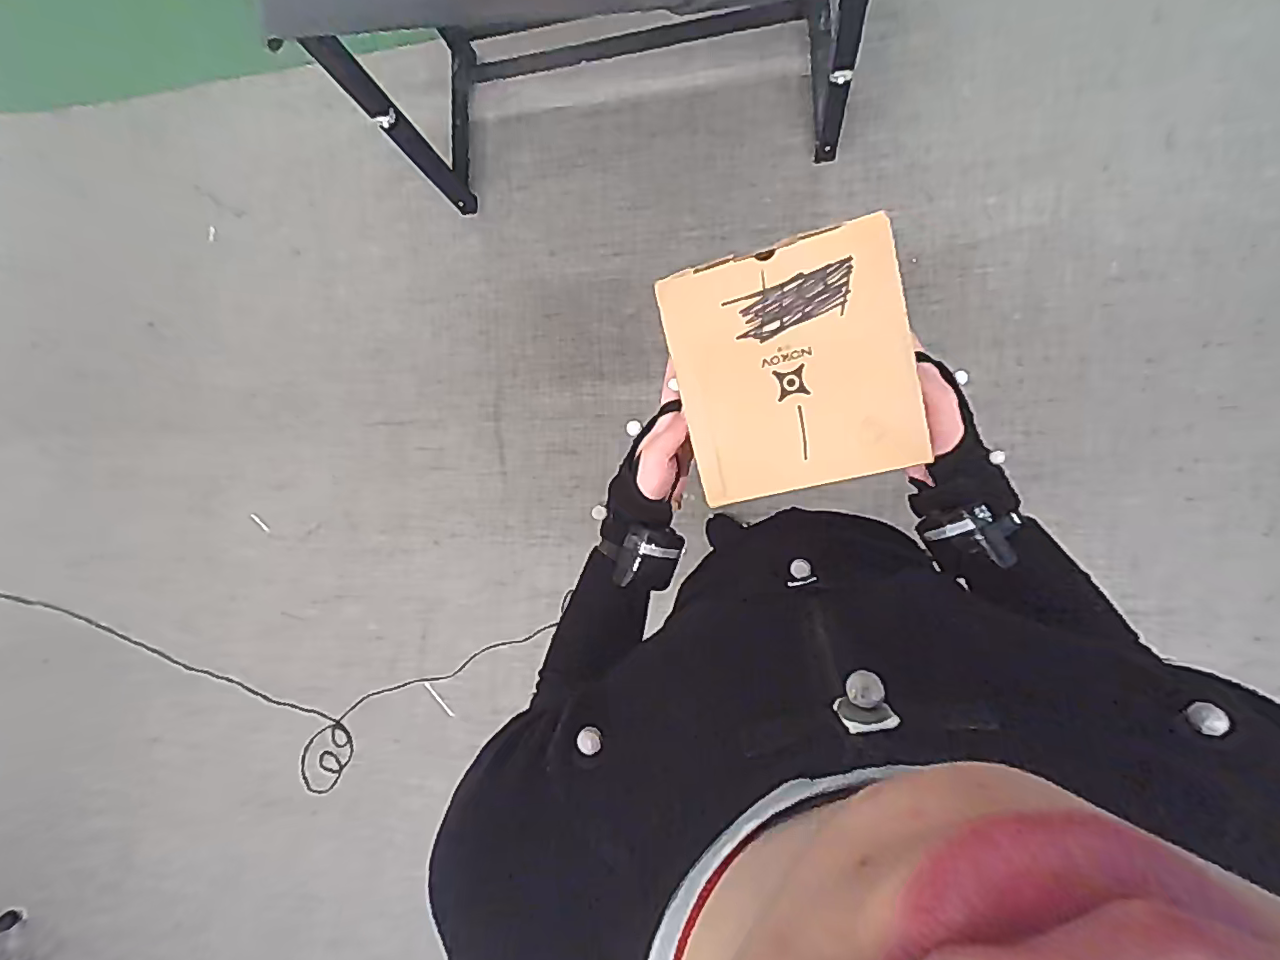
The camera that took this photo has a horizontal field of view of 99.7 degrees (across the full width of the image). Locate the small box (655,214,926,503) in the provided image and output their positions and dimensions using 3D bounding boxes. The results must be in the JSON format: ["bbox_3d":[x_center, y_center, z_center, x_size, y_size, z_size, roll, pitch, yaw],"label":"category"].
[{"bbox_3d":[0.122,-0.095,0.467,0.168,0.176,0.179,-12,99,15],"label":"small box"}]
